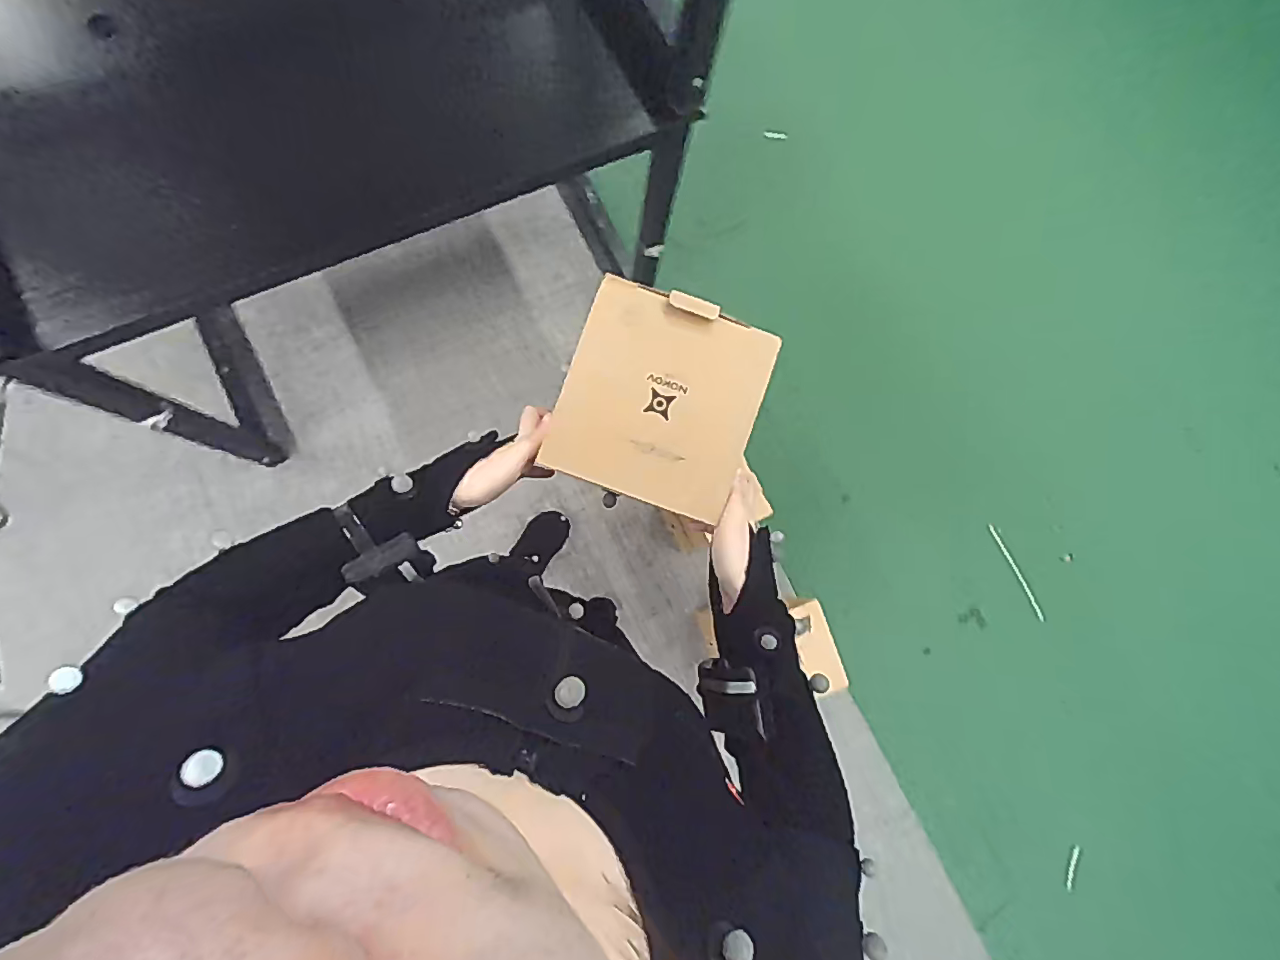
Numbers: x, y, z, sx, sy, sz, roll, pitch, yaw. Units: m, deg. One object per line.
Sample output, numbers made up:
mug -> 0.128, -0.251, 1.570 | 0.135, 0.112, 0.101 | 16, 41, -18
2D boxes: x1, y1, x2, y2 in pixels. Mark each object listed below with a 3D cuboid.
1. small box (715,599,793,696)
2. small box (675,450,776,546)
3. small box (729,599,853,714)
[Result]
small box -> 0.287, 0.384, 1.274 | 0.168, 0.176, 0.179 | -14, 82, -7
small box -> 0.197, 0.051, 1.324 | 0.179, 0.176, 0.168 | -26, 83, -11
small box -> 0.299, 0.351, 1.114 | 0.168, 0.176, 0.179 | -17, 83, -8
